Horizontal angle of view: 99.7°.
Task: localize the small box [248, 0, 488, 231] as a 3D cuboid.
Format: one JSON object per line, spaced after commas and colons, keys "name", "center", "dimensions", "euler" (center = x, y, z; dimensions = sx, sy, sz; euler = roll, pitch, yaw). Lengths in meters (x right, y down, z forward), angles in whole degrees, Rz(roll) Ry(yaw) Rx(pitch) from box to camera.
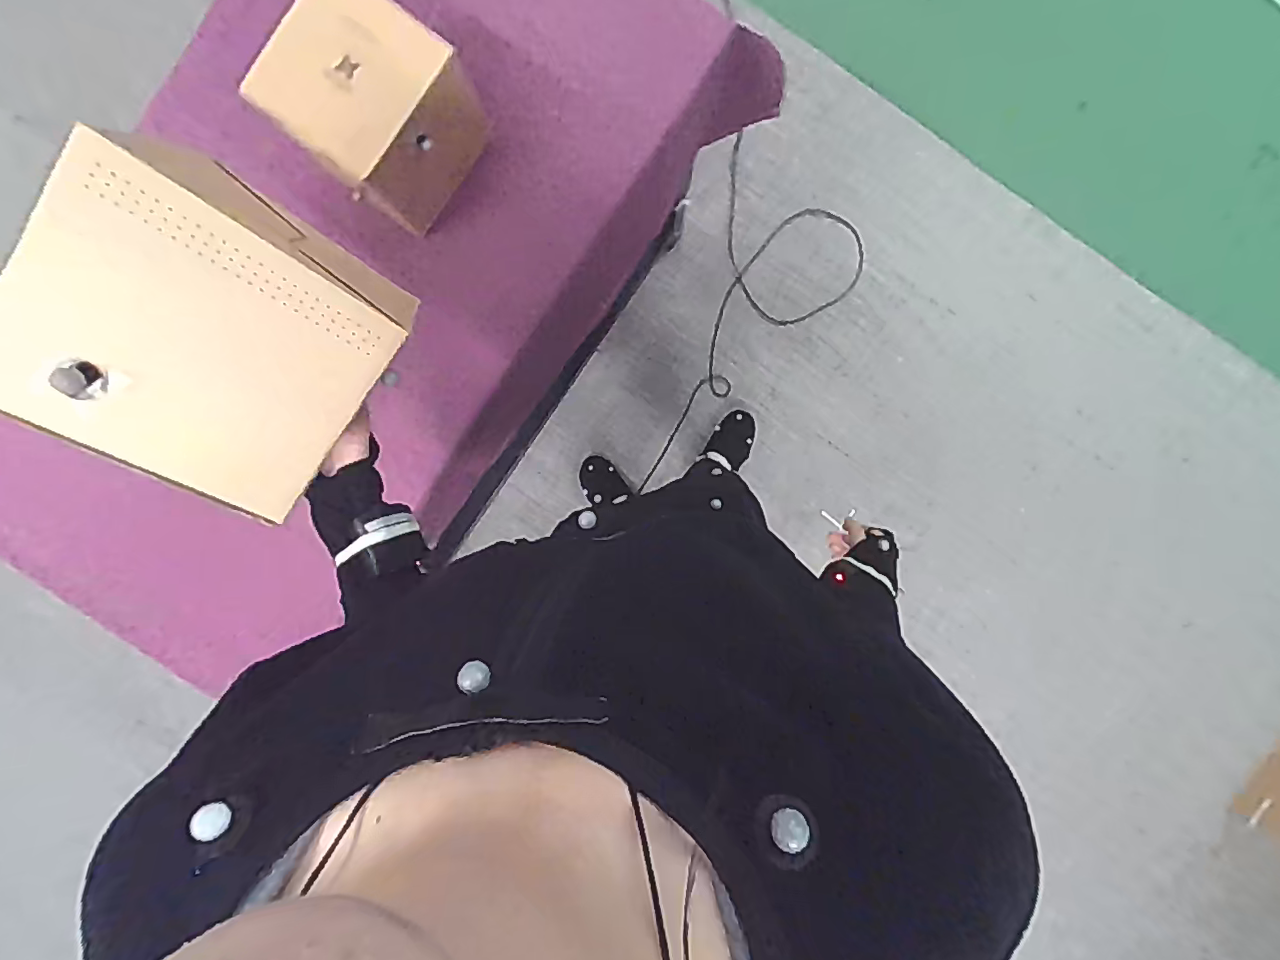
{"name": "small box", "center": [-0.315, -0.448, 0.668], "dimensions": [0.168, 0.176, 0.179], "euler": [37, 93, -3]}
